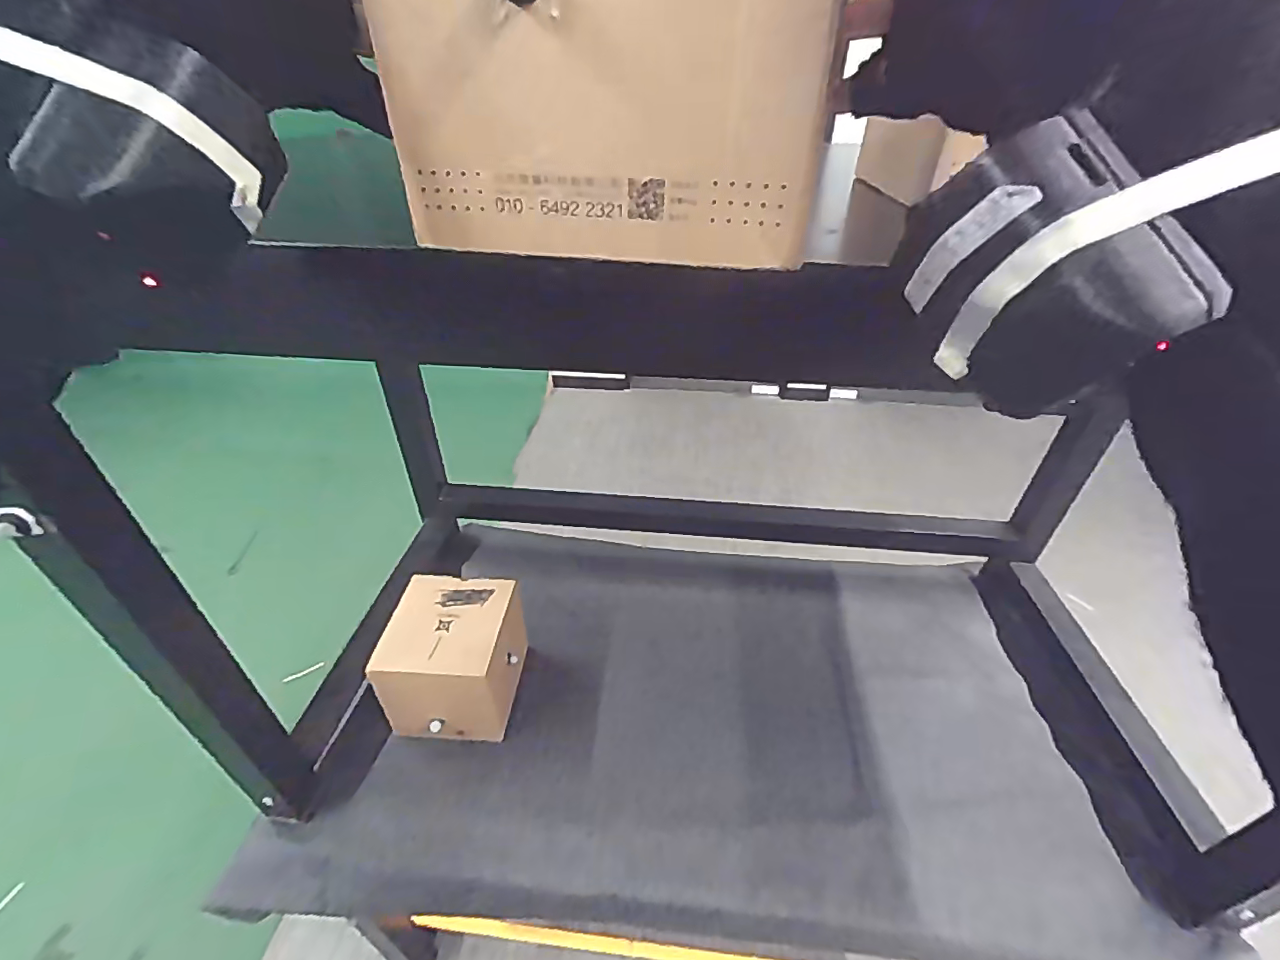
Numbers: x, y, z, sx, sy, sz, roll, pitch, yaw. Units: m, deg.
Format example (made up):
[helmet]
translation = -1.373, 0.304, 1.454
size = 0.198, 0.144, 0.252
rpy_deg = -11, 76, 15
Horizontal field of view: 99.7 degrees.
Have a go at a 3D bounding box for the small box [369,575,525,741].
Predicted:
[small box]
translation = -0.279, 0.270, 0.831
size = 0.168, 0.176, 0.179
rpy_deg = 2, 36, 3
